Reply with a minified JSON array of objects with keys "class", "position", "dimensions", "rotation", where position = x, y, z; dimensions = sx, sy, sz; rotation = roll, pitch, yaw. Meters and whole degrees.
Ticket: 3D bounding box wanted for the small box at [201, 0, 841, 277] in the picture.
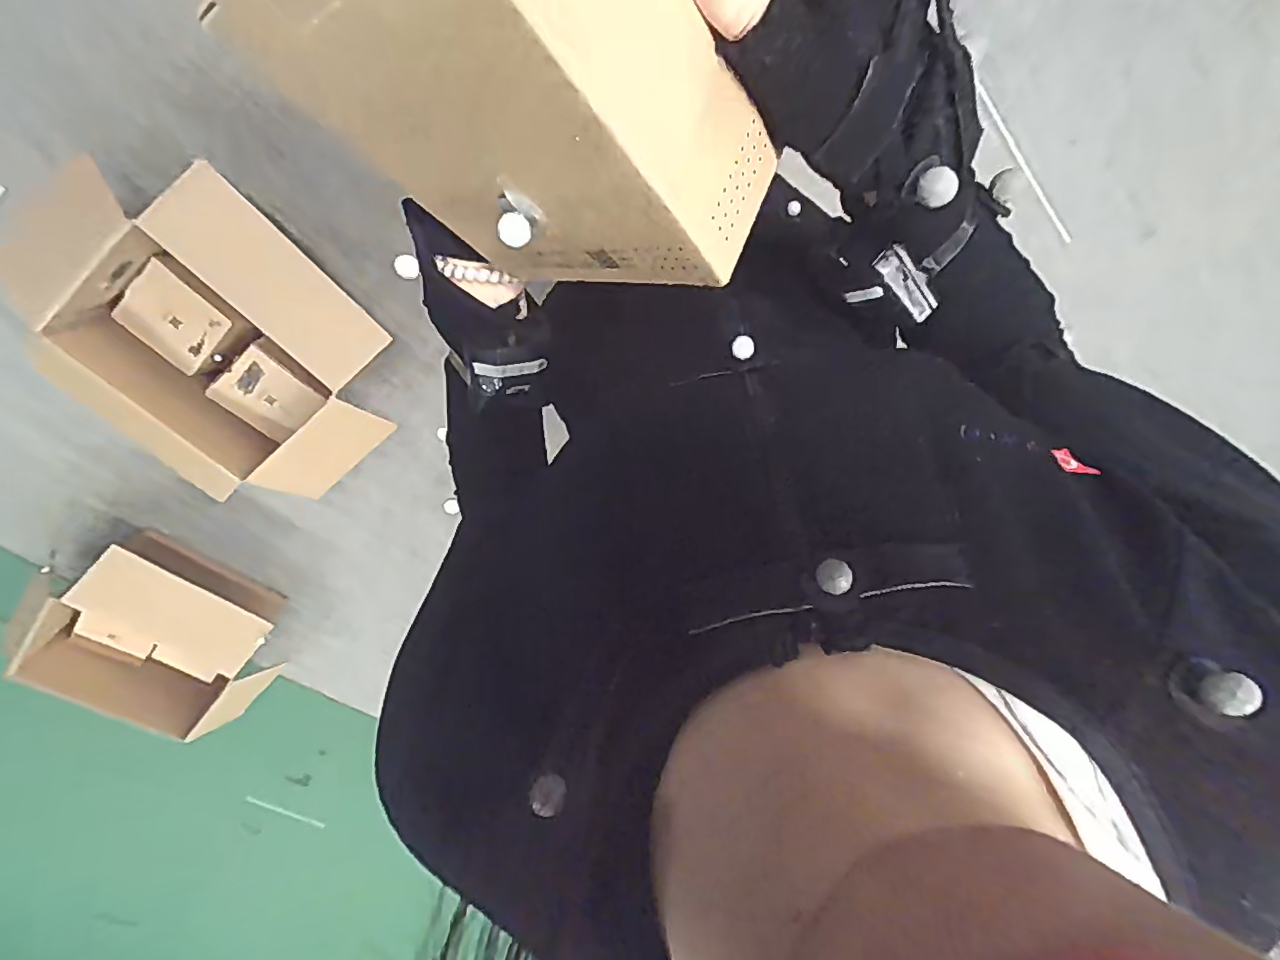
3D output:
[{"class":"small box","position":[-0.031,-0.213,0.226],"dimensions":[0.176,0.168,0.179],"rotation":[27,84,-51]}]
